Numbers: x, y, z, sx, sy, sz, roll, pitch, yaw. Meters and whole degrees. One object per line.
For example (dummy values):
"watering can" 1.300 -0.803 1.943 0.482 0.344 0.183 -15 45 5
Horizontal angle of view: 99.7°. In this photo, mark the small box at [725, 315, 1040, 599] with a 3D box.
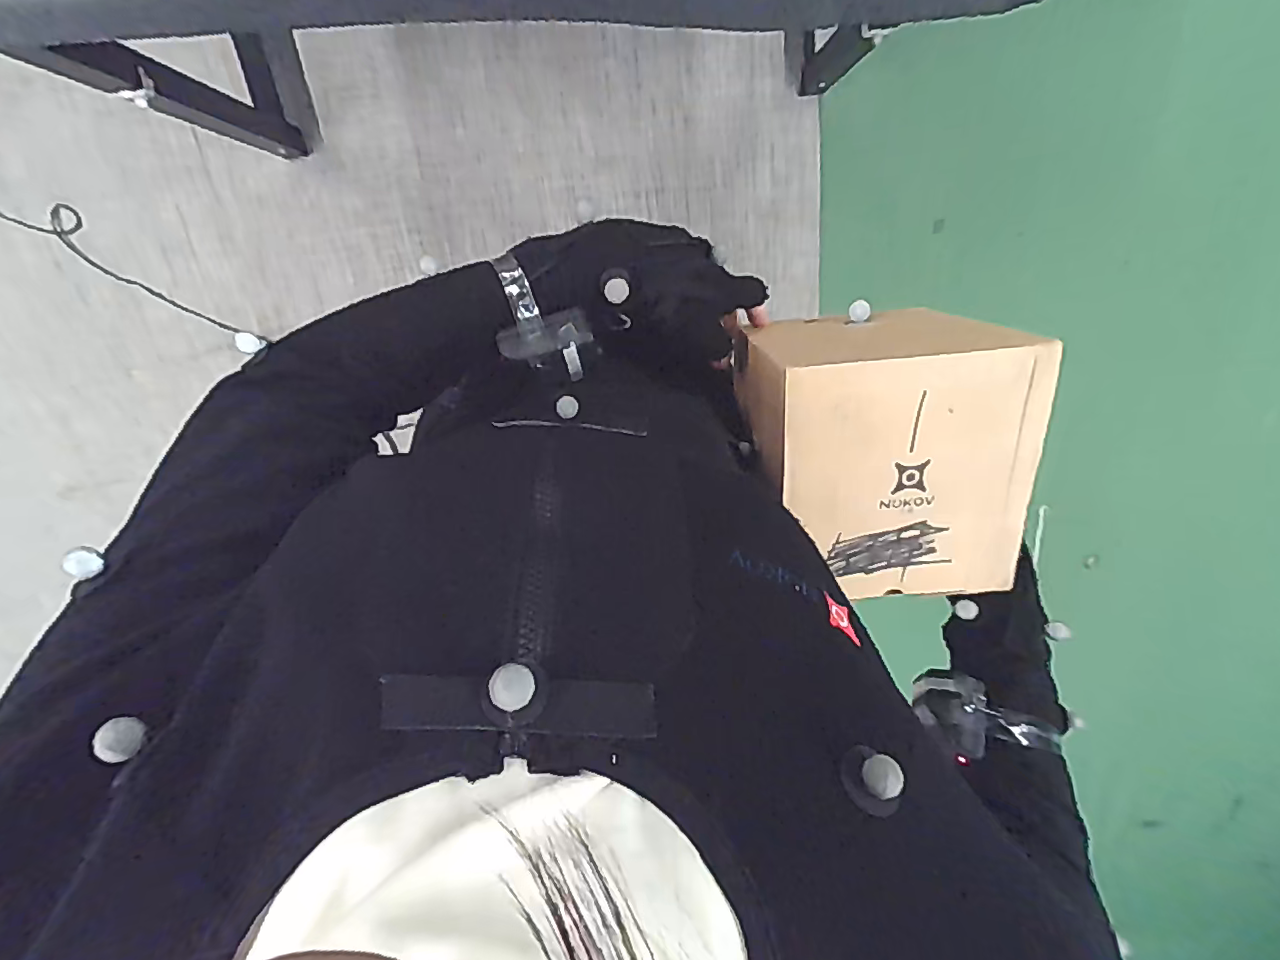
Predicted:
"small box" 0.165 -0.028 0.435 0.168 0.176 0.179 -4 113 0
